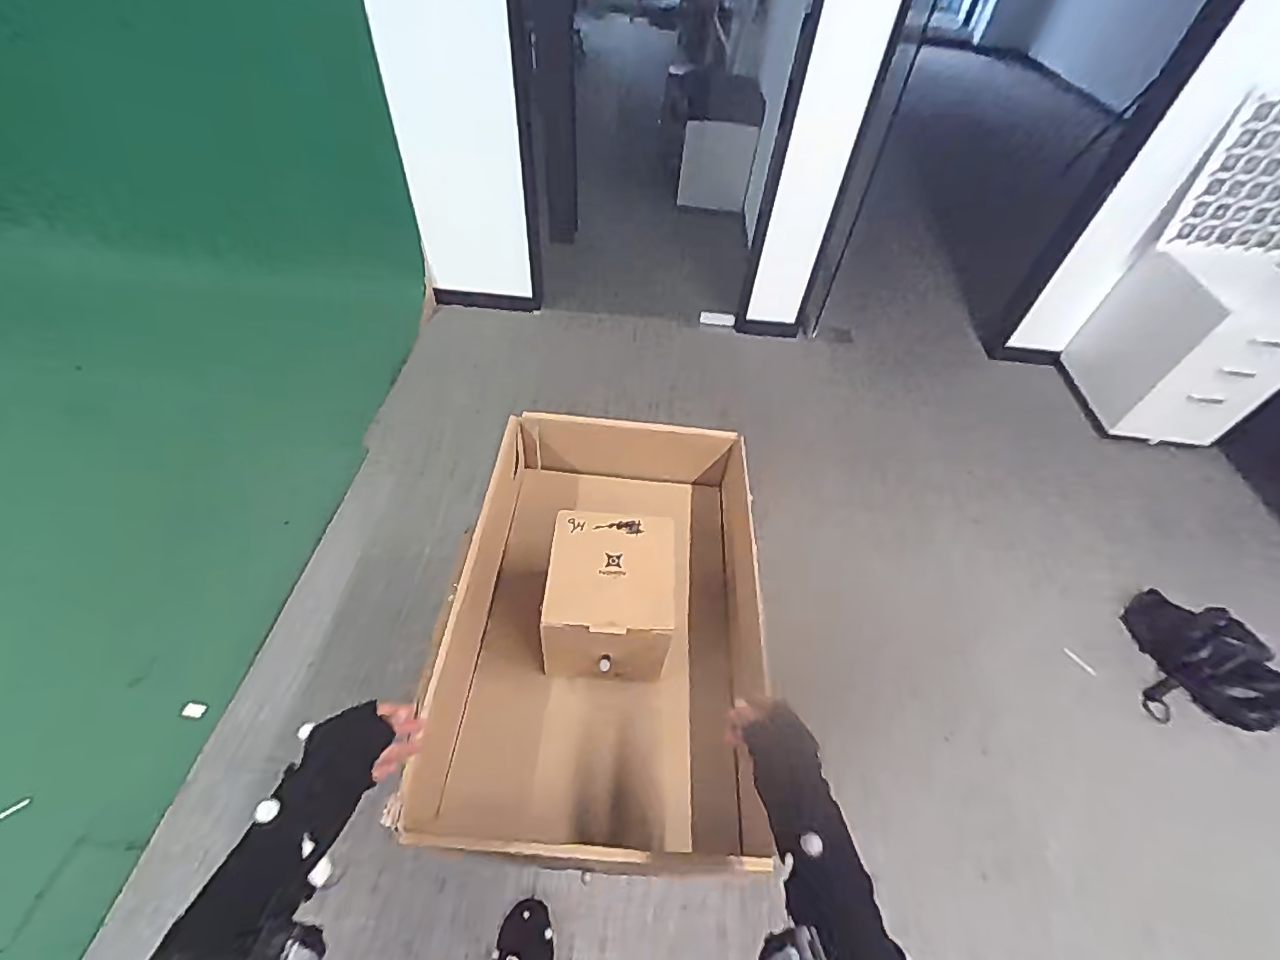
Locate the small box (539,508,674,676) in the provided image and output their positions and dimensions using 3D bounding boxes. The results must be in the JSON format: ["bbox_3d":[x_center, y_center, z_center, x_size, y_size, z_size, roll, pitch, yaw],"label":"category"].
[{"bbox_3d":[-0.045,0.164,0.768,0.168,0.176,0.179,6,50,-3],"label":"small box"}]
